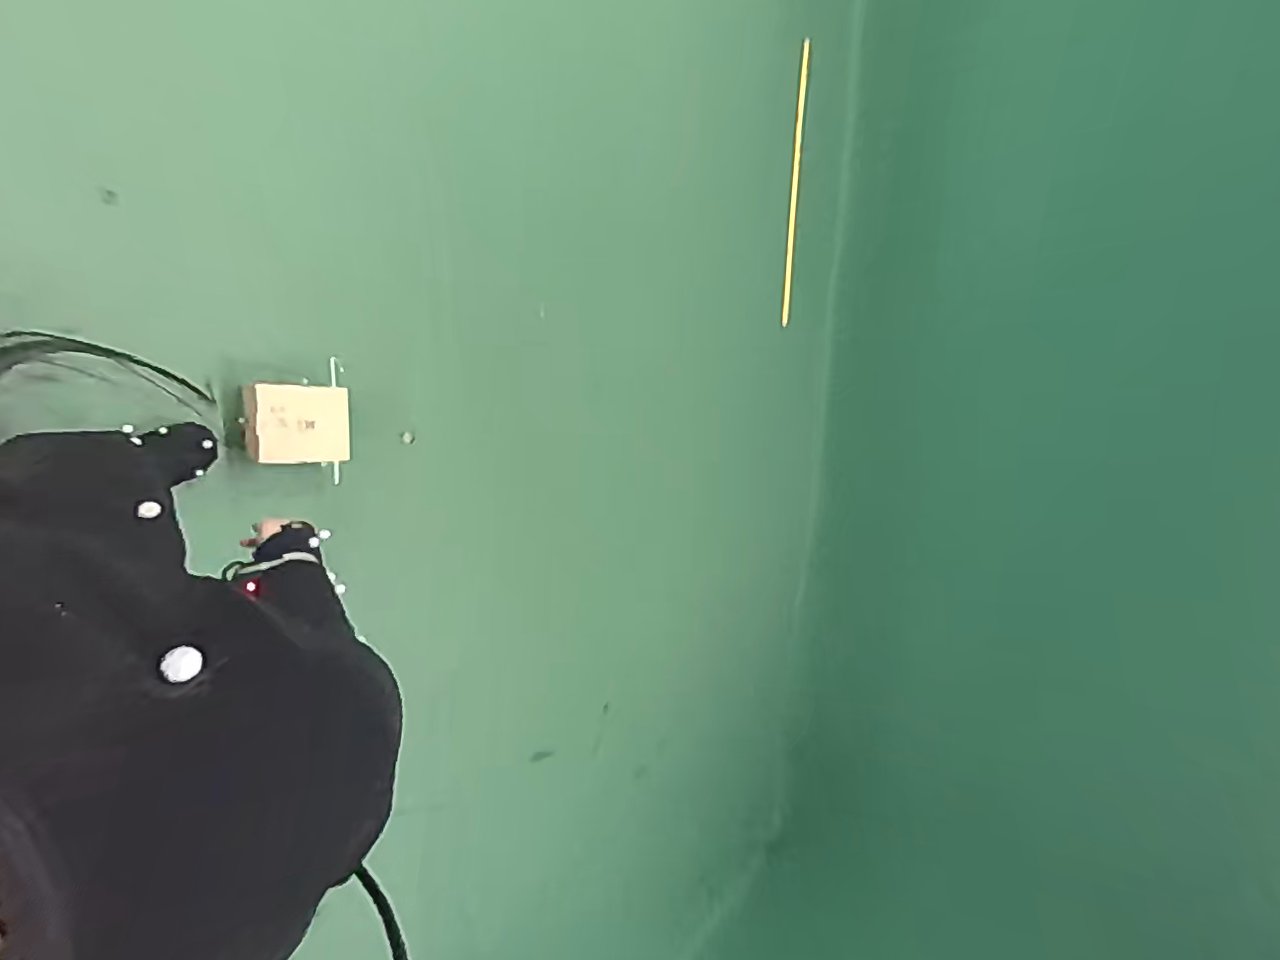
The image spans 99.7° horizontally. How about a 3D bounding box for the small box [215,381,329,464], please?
[{"bbox_3d":[-0.815,-0.129,1.199,0.179,0.176,0.168,-5,101,-46],"label":"small box"}]
